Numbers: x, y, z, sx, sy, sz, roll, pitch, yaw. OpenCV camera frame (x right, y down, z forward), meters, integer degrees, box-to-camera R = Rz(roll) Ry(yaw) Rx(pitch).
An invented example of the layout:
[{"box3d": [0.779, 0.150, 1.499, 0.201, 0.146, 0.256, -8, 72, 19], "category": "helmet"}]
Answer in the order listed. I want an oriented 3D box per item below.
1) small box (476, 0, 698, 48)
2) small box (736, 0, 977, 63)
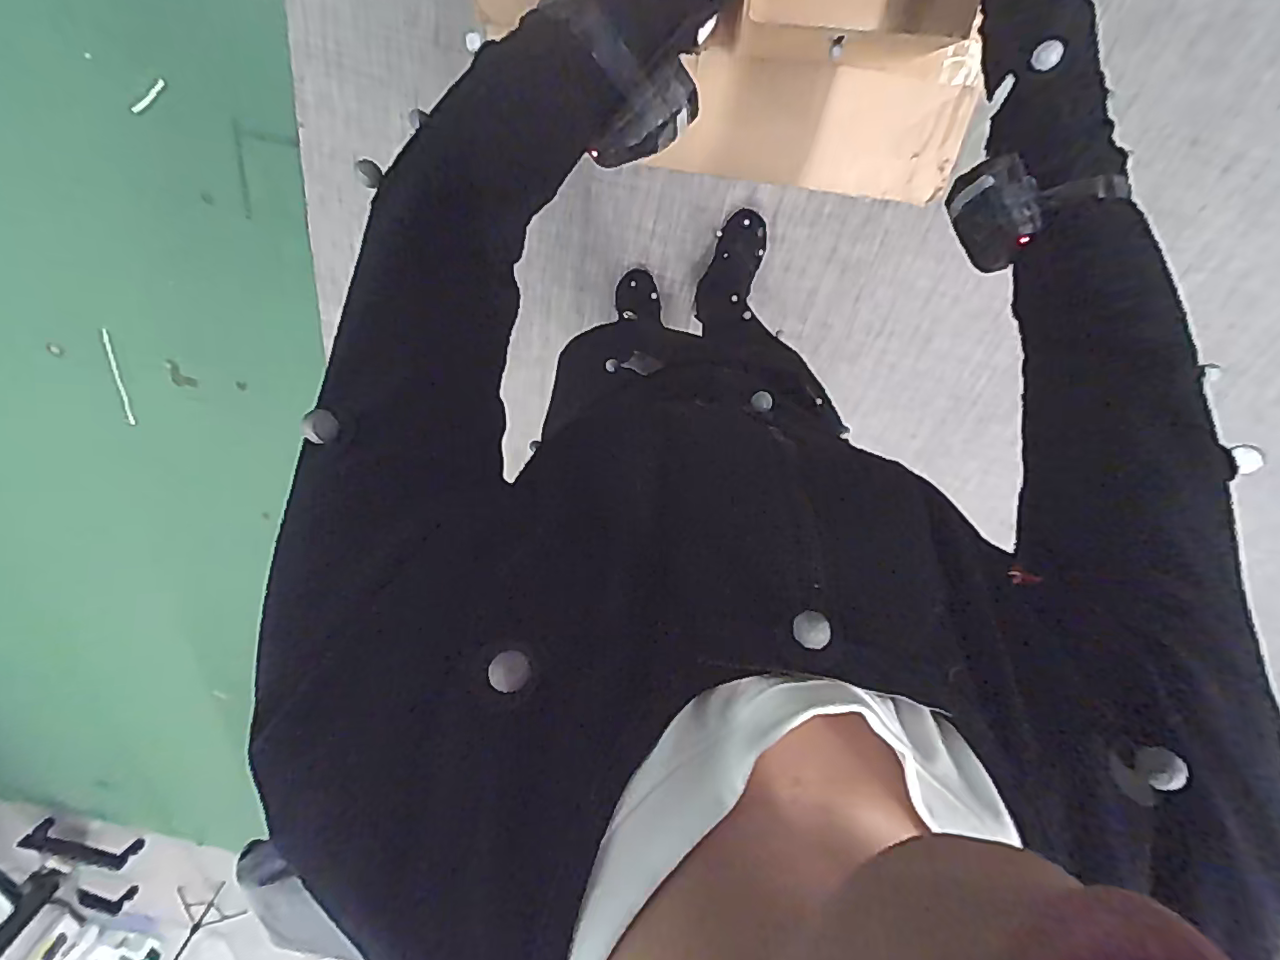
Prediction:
[{"box3d": [-0.033, -0.484, 0.462, 0.179, 0.176, 0.168, 8, 129, 2], "category": "small box"}, {"box3d": [0.180, -0.463, 0.449, 0.179, 0.176, 0.168, 6, 122, 2], "category": "small box"}]
